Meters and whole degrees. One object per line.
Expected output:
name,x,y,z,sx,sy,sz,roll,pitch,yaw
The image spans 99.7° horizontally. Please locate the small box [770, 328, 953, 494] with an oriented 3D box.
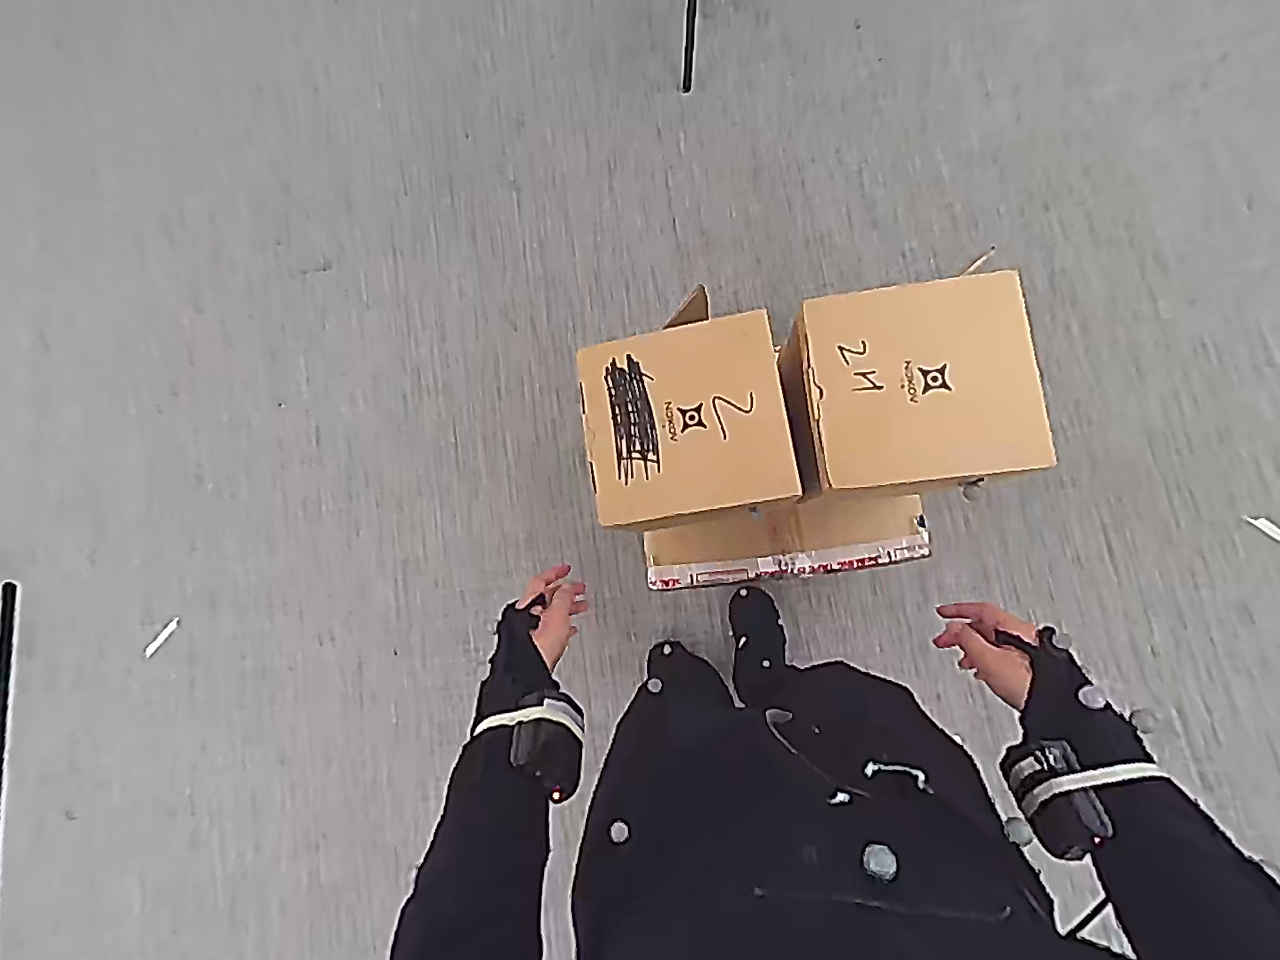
small box,0.260,-0.074,0.680,0.179,0.176,0.168,-3,82,7
